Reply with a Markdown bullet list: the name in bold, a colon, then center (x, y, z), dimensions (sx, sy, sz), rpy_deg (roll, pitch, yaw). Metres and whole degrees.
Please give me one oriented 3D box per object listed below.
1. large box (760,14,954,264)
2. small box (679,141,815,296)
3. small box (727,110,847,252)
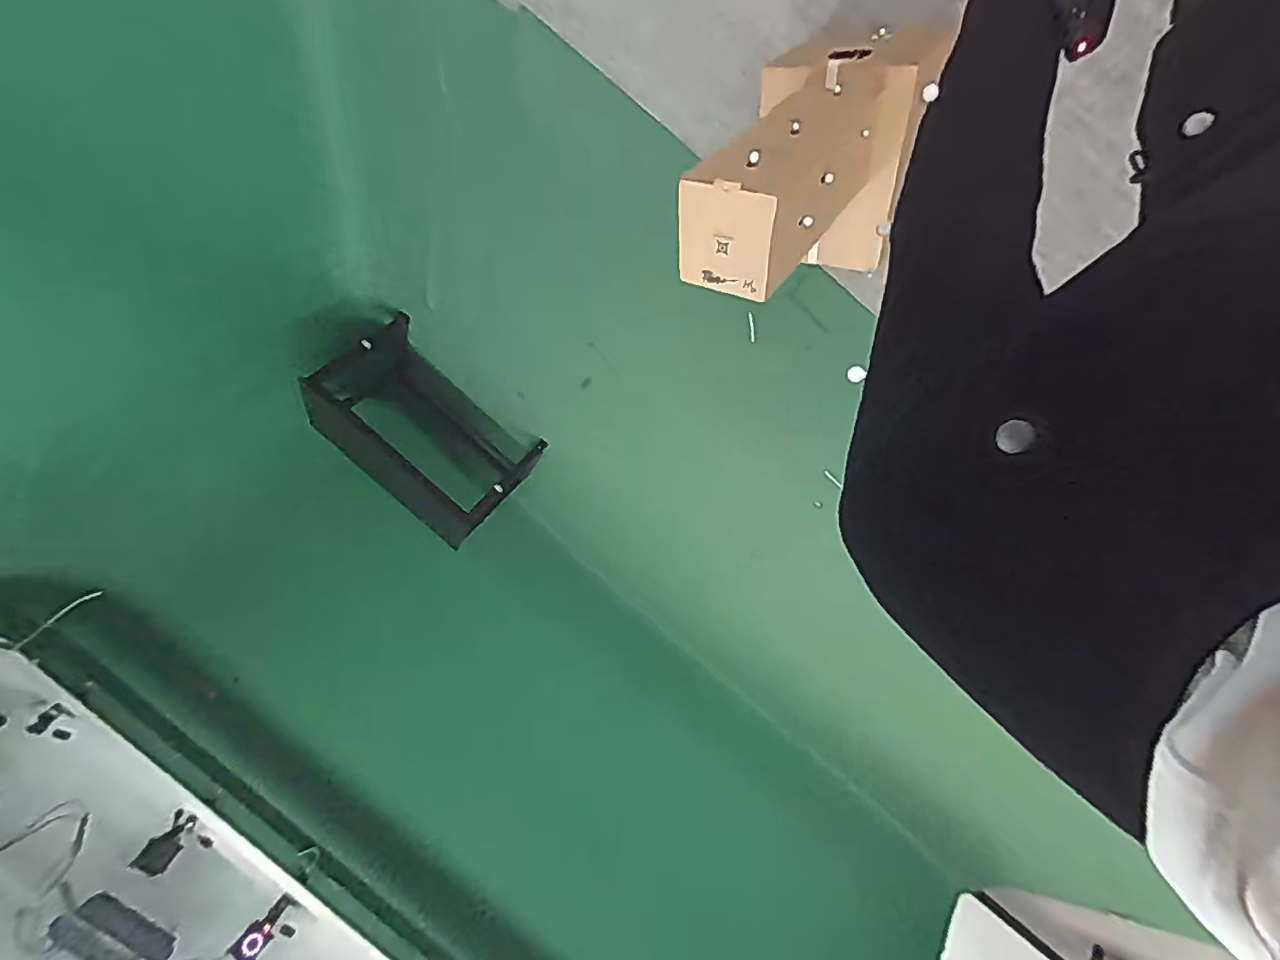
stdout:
- **large box**: center (0.486, -0.788, 1.265), dimensions (0.320, 0.320, 0.408), rpy_deg (23, 147, 27)
- **small box**: center (0.179, -0.447, 0.913), dimensions (0.168, 0.176, 0.179), rpy_deg (25, 145, 23)
- **small box**: center (0.265, -0.556, 0.999), dimensions (0.168, 0.176, 0.179), rpy_deg (25, 147, 23)
